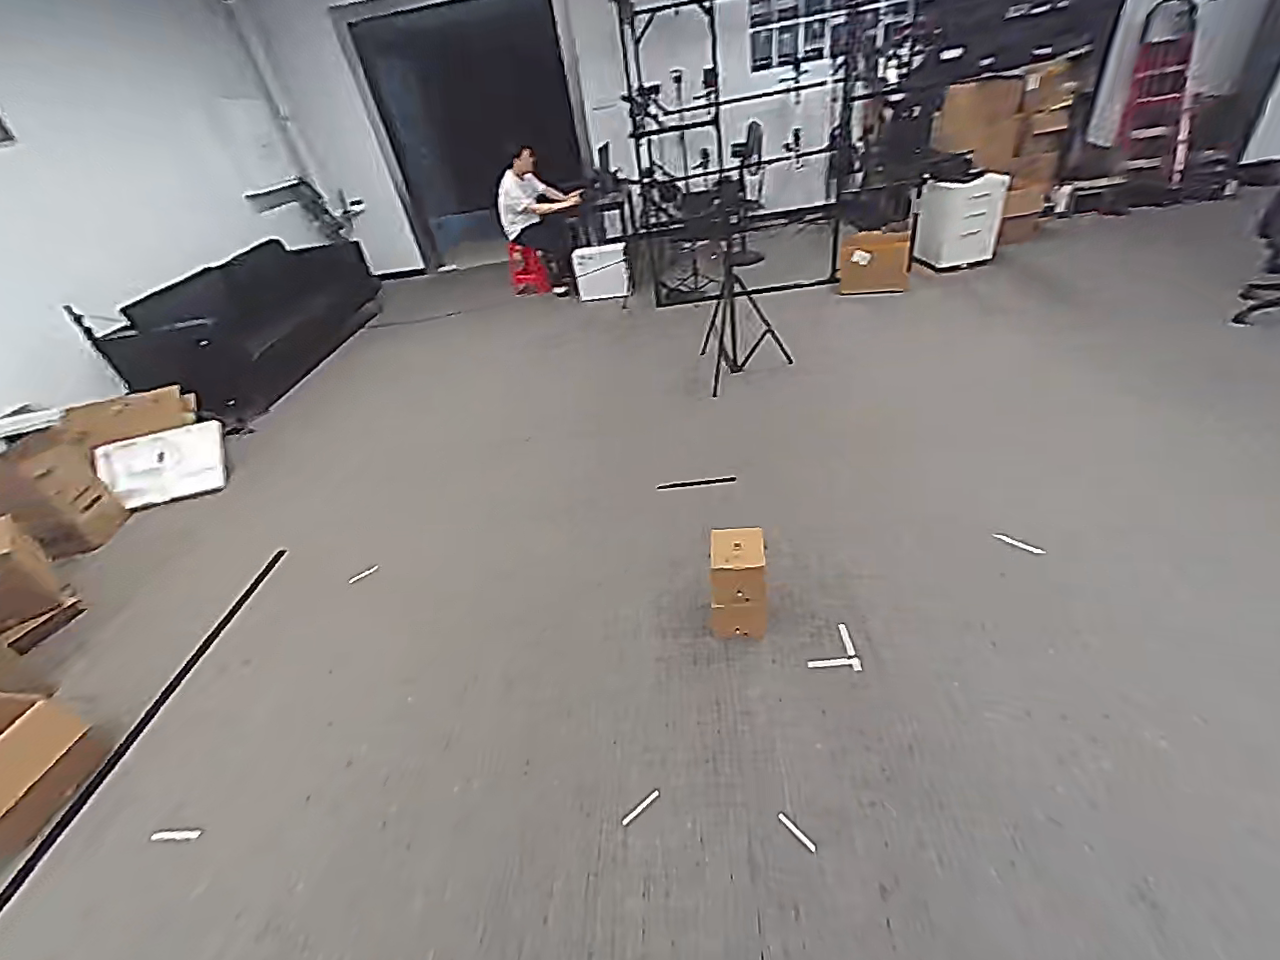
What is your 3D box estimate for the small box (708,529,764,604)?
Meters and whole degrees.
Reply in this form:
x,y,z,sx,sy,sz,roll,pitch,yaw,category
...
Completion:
x,y,z,sx,sy,sz,roll,pitch,yaw,category
0.309,0.278,1.734,0.168,0.176,0.179,-4,37,11,small box
